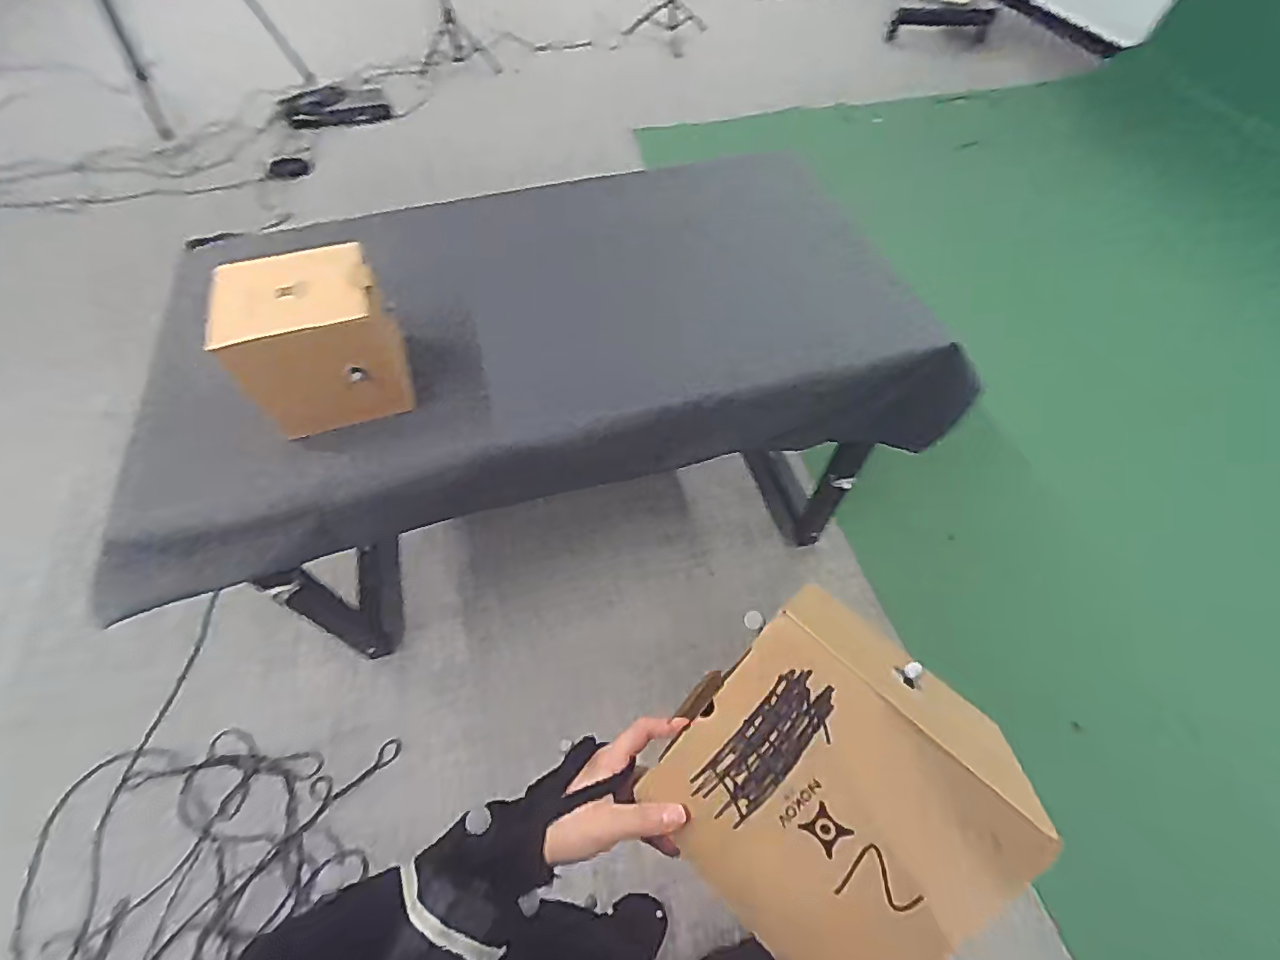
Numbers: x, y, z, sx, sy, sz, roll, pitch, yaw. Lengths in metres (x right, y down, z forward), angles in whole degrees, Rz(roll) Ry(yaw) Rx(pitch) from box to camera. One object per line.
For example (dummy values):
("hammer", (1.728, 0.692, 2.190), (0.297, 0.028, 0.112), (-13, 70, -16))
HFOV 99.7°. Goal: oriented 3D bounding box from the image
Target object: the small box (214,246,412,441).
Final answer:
("small box", (-0.422, -0.180, 0.727), (0.179, 0.176, 0.168), (-17, 57, -11))
